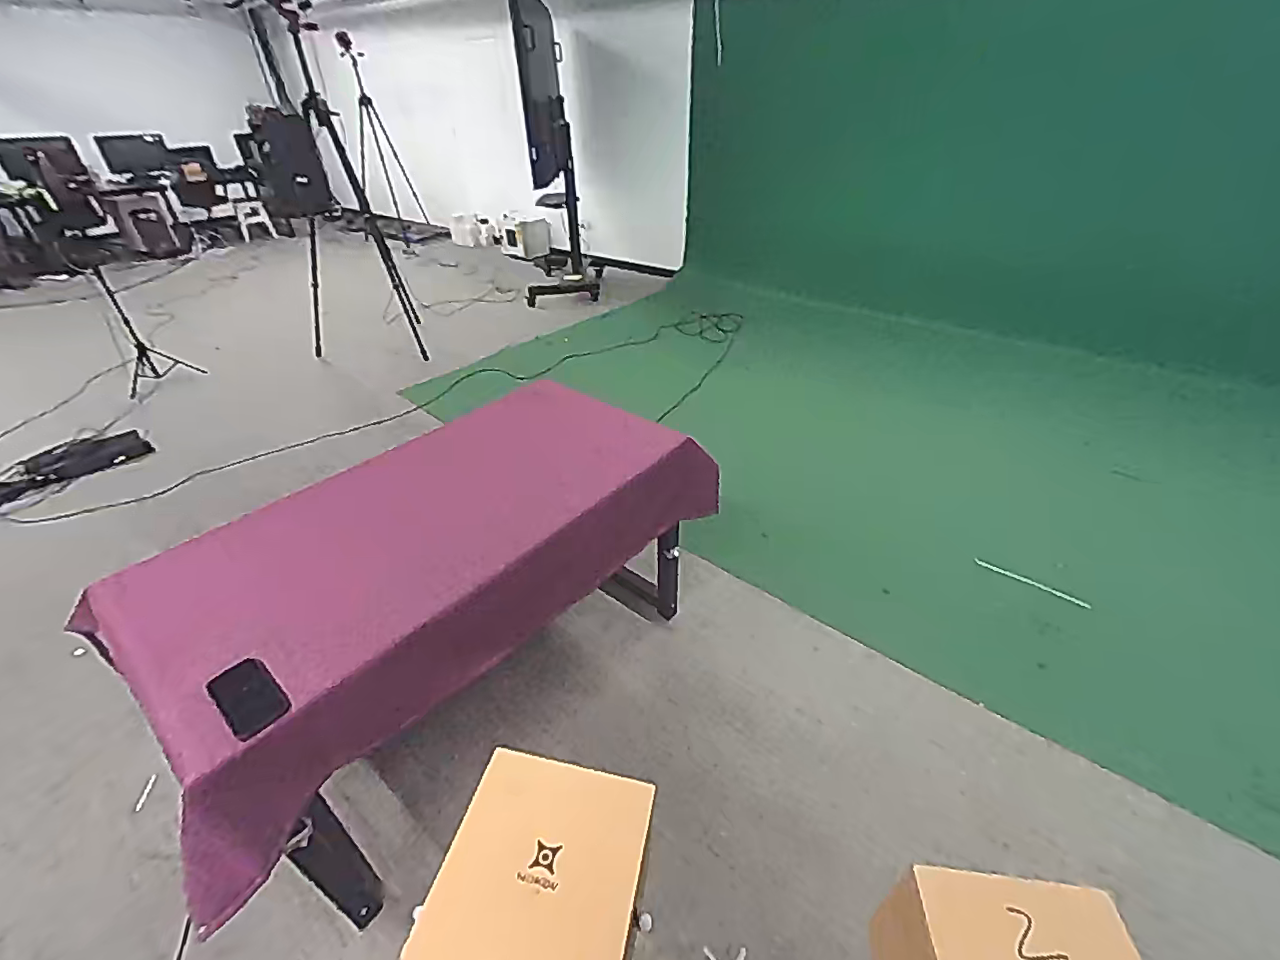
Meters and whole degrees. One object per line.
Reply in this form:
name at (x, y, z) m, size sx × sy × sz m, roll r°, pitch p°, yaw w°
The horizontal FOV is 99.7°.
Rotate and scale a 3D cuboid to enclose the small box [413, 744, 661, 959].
small box at (-0.081, 0.391, 0.506) m, size 0.168 × 0.176 × 0.179 m, roll 9°, pitch 34°, yaw 9°
